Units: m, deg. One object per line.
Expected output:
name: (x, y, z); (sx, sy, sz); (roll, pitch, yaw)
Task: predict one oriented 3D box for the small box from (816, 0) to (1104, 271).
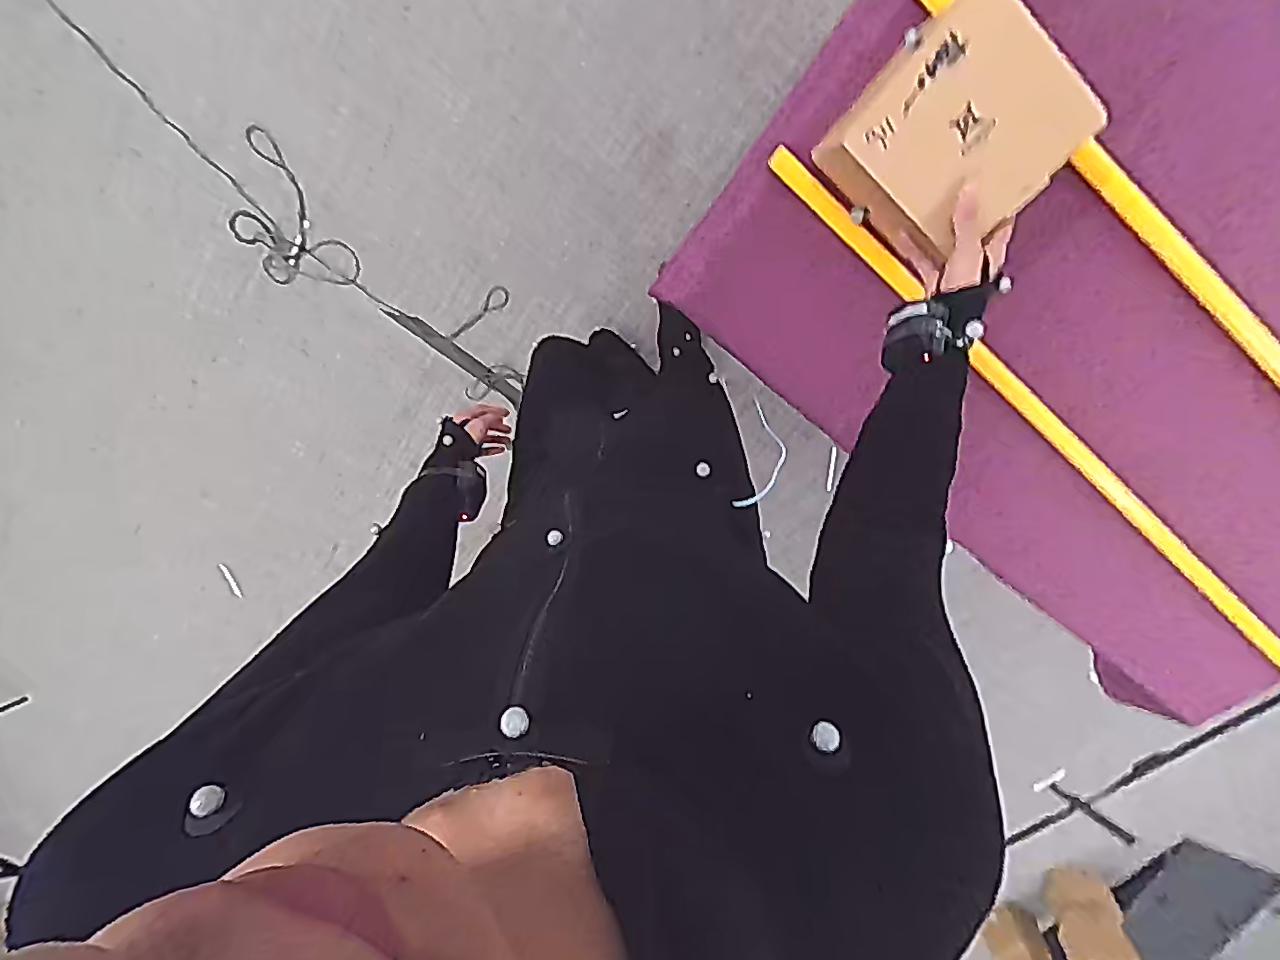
small box: (0.317, -0.355, 0.576); (0.179, 0.176, 0.168); (39, 114, -13)
